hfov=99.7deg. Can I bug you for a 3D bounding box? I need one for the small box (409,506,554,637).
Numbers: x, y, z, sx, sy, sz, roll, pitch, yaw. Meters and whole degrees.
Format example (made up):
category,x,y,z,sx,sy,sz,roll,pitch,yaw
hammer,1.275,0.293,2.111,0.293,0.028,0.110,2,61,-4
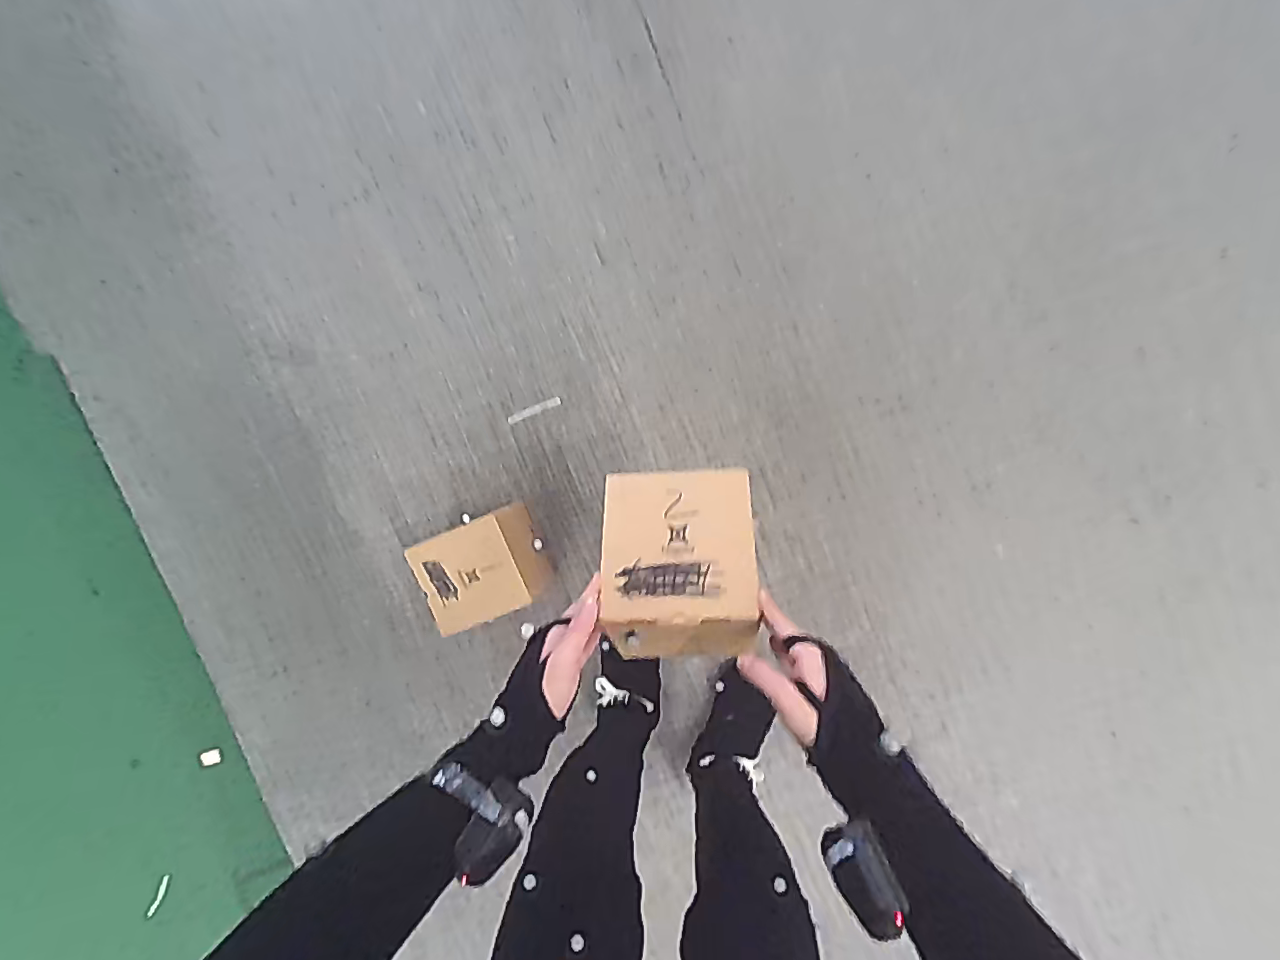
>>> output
category,x,y,z,sx,sy,sz,roll,pitch,yaw
small box,-0.281,0.160,0.996,0.179,0.176,0.168,-22,93,5
